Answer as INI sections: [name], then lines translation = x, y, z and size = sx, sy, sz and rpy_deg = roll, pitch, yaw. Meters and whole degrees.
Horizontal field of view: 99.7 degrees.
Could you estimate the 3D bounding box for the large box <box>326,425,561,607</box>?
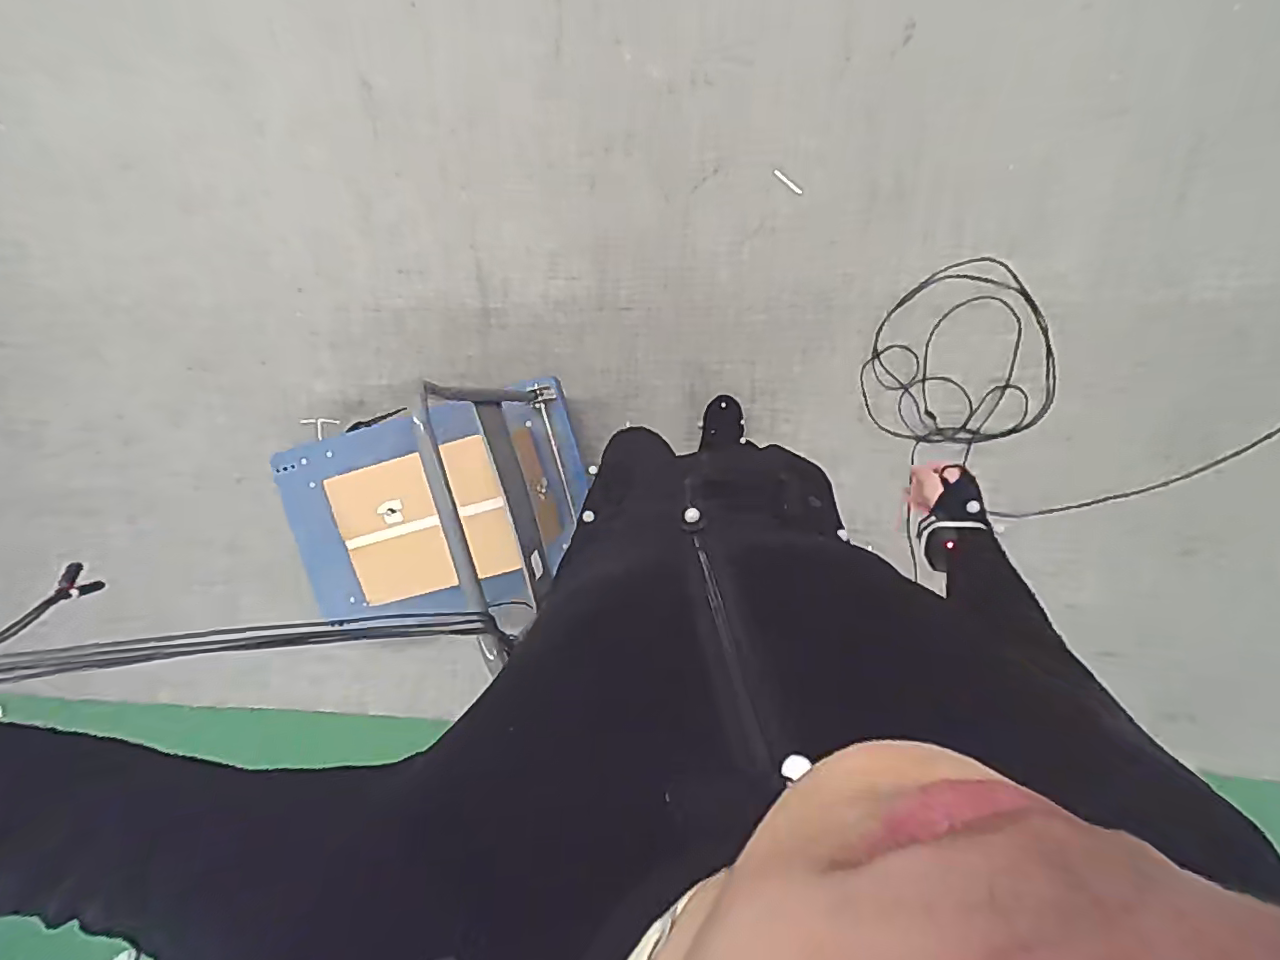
[large box]
translation = -0.460, 0.072, 1.346
size = 0.408, 0.320, 0.320
rpy_deg = -15, 96, 8
